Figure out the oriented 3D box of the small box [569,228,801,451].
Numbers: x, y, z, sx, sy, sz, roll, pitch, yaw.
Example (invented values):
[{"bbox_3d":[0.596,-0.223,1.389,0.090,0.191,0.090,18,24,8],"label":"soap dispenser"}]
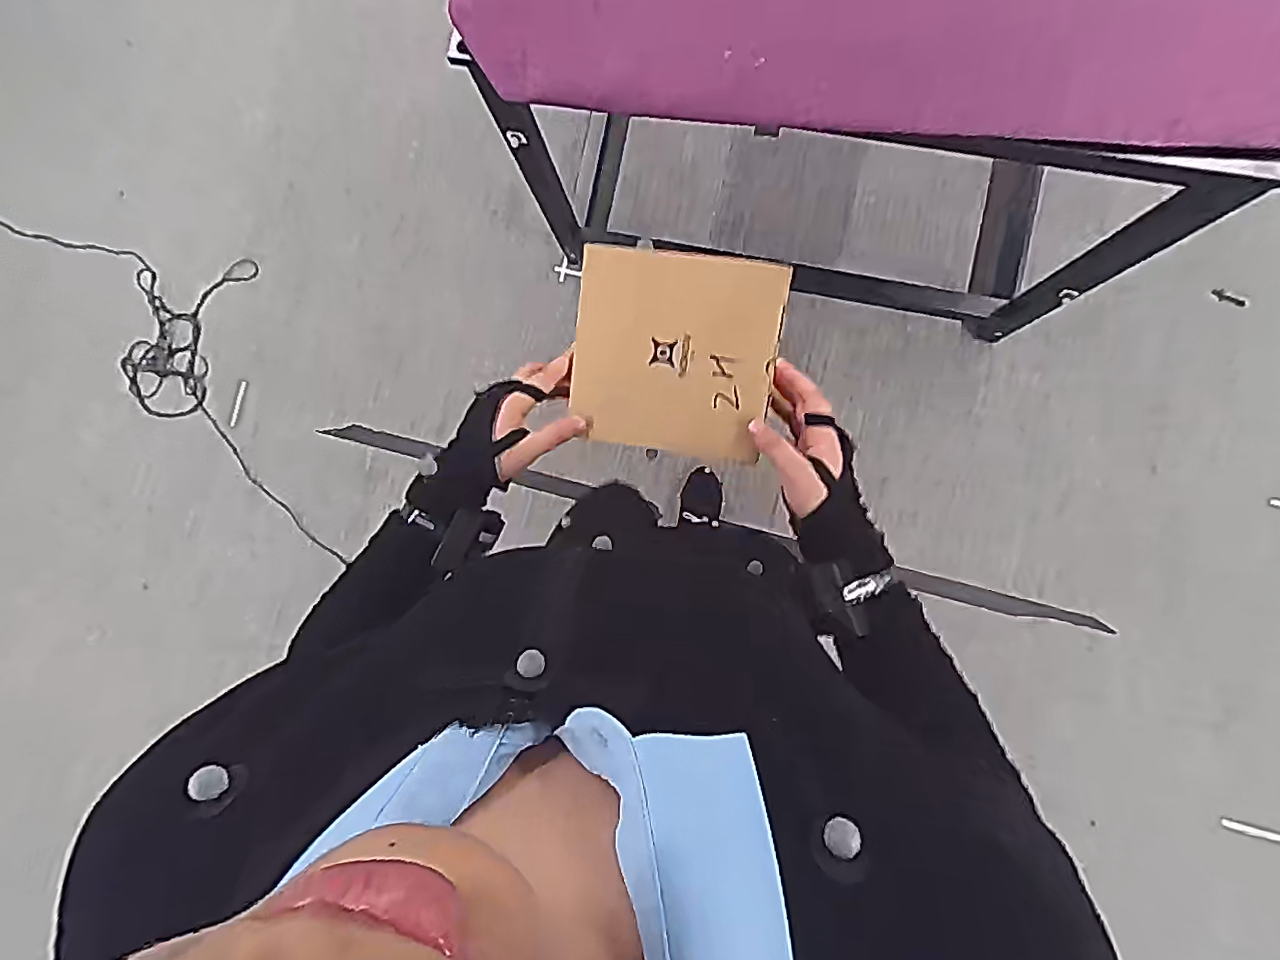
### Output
[{"bbox_3d":[0.043,-0.131,0.528,0.179,0.176,0.168,8,103,6],"label":"small box"}]
